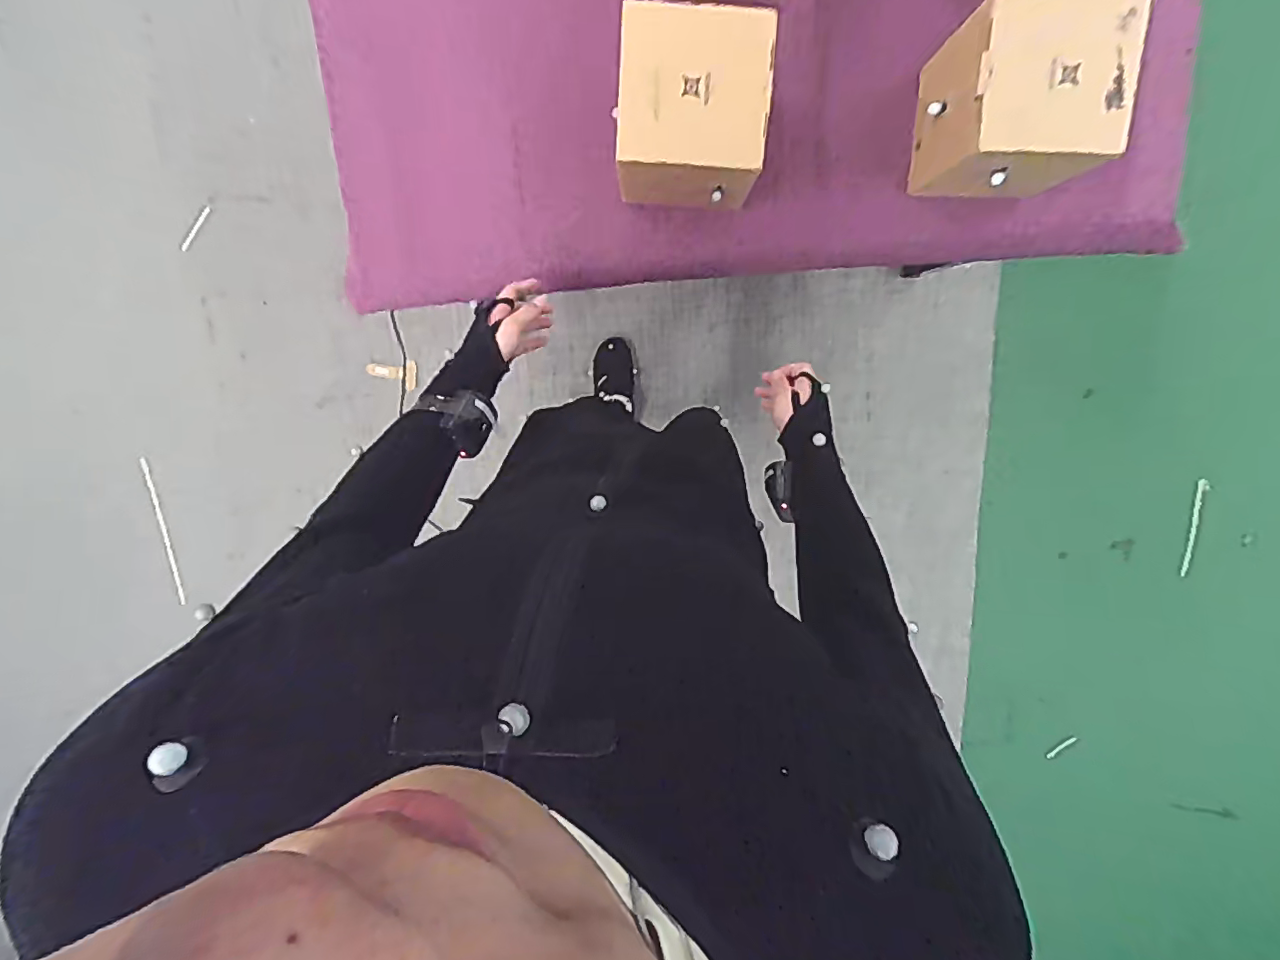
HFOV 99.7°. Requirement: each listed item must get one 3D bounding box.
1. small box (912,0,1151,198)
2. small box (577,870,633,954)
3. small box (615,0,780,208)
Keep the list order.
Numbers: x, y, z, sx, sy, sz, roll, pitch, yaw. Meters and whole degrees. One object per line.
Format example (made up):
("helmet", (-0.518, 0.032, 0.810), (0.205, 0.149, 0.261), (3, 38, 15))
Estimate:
("small box", (0.473, -0.472, 0.687), (0.179, 0.176, 0.168), (2, 102, 1))
("small box", (-0.117, 1.487, 1.871), (0.179, 0.176, 0.168), (-4, 102, 1))
("small box", (0.064, -0.462, 0.692), (0.179, 0.176, 0.168), (4, 101, 0))
